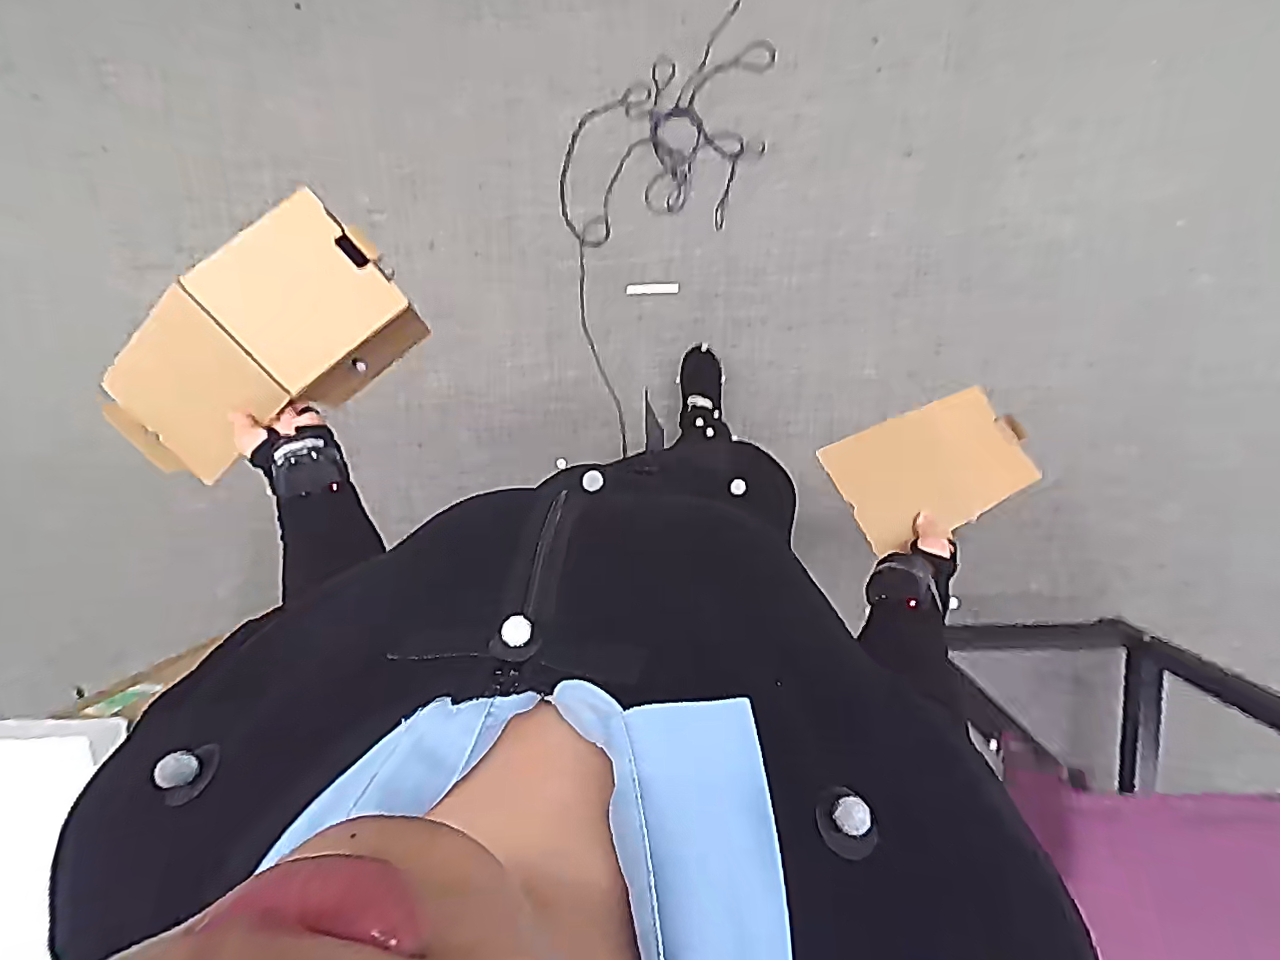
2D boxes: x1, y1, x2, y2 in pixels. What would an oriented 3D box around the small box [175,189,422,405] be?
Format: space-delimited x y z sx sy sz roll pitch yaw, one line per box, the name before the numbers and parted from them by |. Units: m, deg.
small box | -0.403 -0.211 0.681 0.179 0.176 0.168 -42 101 -9
